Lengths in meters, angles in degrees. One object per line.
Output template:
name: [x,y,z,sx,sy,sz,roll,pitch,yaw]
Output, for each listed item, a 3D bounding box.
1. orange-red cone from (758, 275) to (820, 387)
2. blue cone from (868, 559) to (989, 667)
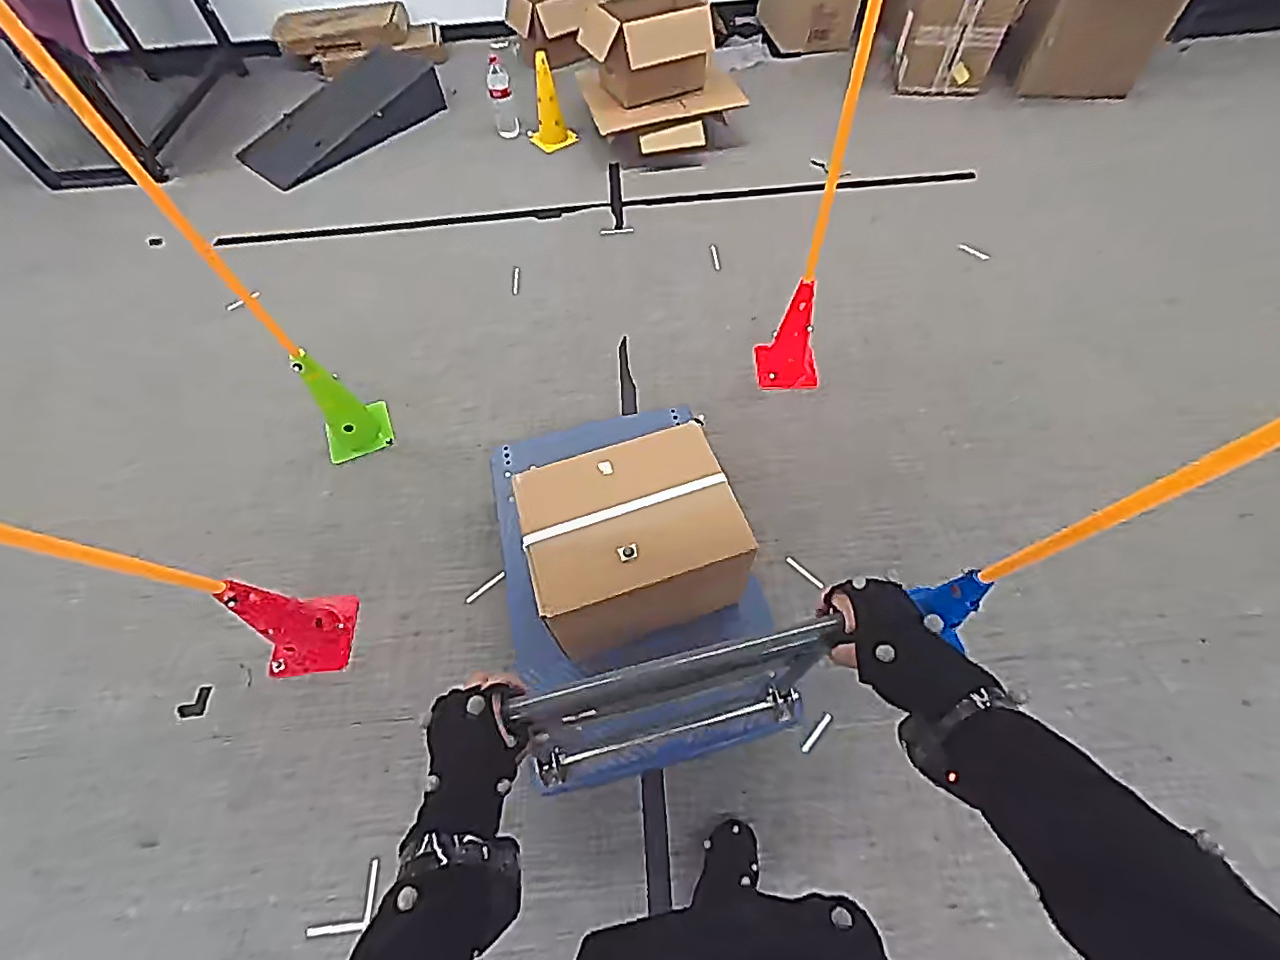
orange-red cone: [0.497,-0.482,1.686,0.199,0.360,0.198,2,59,2]
blue cone: [0.687,0.281,1.226,0.193,0.380,0.192,-8,57,-3]
